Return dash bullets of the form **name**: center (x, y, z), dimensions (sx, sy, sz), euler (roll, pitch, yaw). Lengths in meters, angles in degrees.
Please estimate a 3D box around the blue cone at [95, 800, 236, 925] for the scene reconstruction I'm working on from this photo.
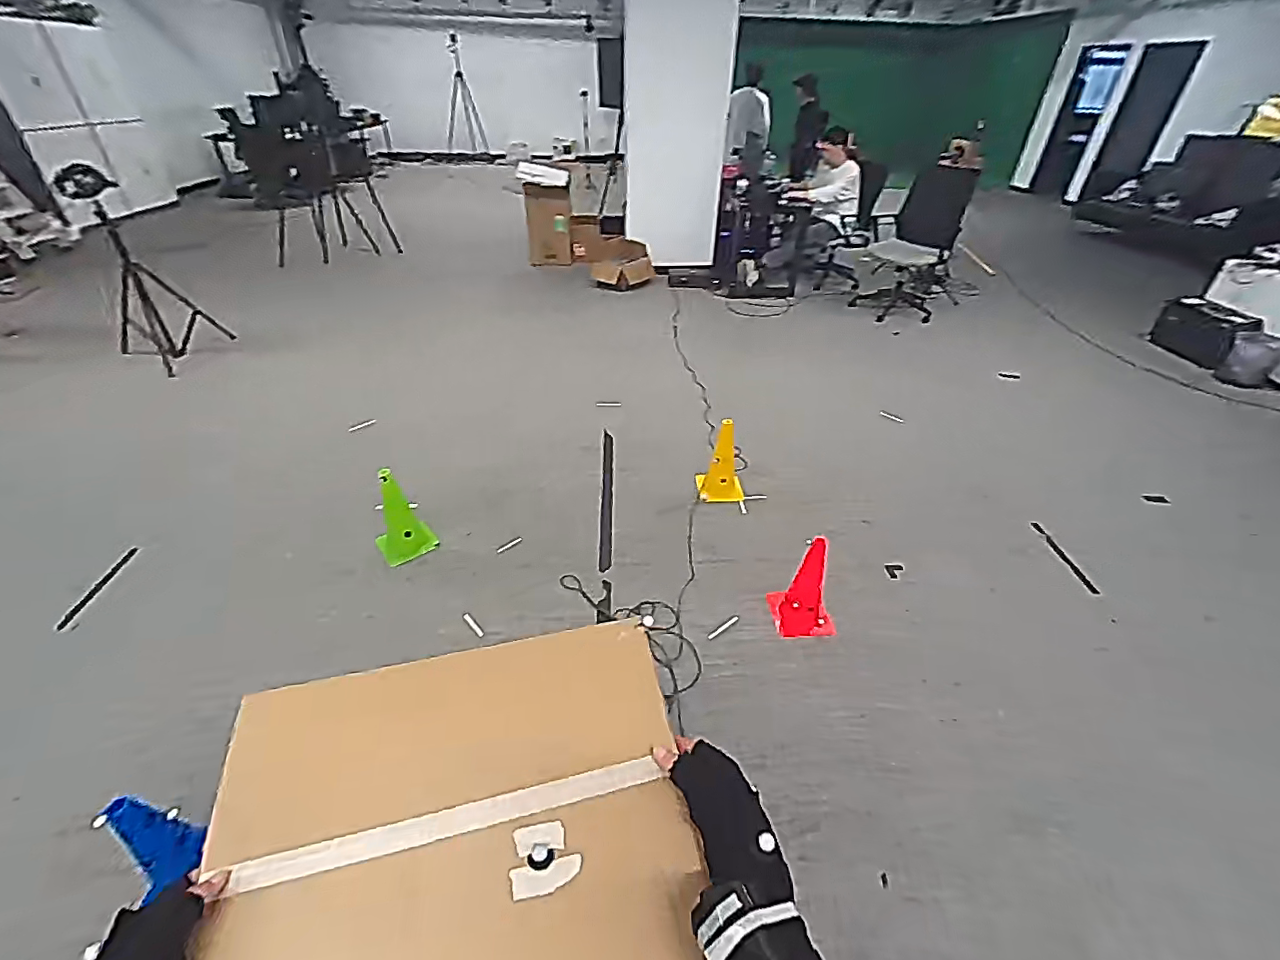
- **blue cone**: center (-1.039, 0.794, 1.171), dimensions (0.192, 0.380, 0.193), euler (0, 36, 1)

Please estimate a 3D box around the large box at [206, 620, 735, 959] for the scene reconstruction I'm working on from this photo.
- **large box**: center (-0.159, 0.399, 0.592), dimensions (0.408, 0.320, 0.320), euler (-7, 49, -11)

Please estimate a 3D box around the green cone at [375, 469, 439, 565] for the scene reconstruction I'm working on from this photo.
- **green cone**: center (-0.936, 0.110, 2.068), dimensions (0.202, 0.368, 0.200), euler (-27, 44, -31)

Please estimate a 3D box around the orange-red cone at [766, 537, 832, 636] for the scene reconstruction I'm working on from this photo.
- **orange-red cone**: center (0.565, 0.334, 1.818), dimensions (0.198, 0.360, 0.199), euler (-1, 35, -5)
